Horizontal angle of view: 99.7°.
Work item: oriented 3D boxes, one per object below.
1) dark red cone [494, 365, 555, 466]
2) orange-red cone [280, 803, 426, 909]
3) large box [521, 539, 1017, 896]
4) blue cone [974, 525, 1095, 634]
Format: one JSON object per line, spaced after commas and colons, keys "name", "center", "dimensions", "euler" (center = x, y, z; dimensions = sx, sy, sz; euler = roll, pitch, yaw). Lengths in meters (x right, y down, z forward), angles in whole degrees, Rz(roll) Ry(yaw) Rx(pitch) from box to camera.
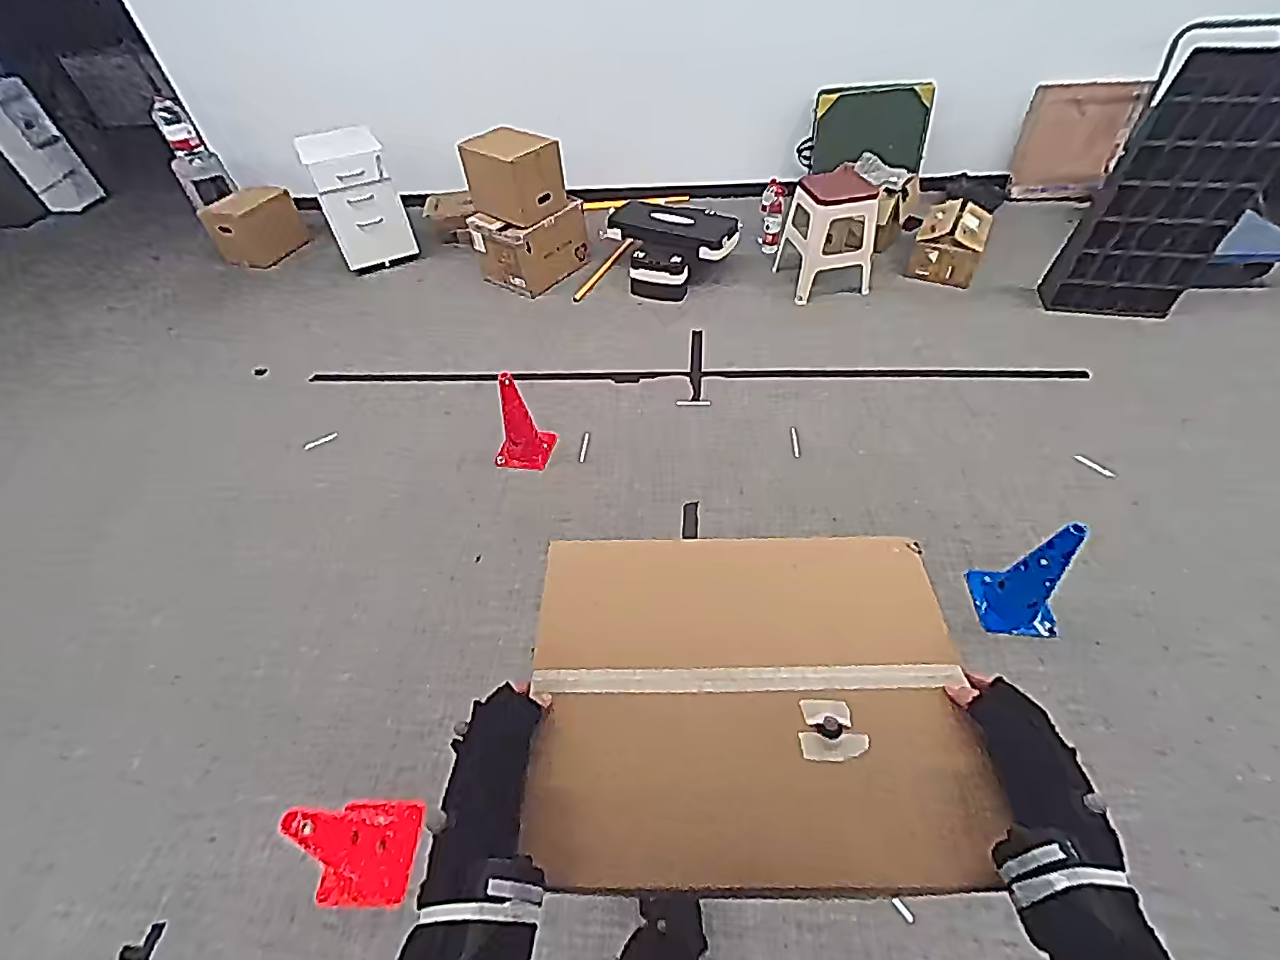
{"name": "dark red cone", "center": [-0.445, -0.240, 1.942], "dimensions": [0.201, 0.394, 0.202], "euler": [6, 49, 9]}
{"name": "orange-red cone", "center": [-0.615, 0.741, 1.105], "dimensions": [0.198, 0.360, 0.199], "euler": [-1, 49, 5]}
{"name": "large box", "center": [0.102, 0.284, 0.635], "dimensions": [0.408, 0.320, 0.320], "euler": [-1, 51, 1]}
{"name": "blue cone", "center": [1.071, 0.245, 1.437], "dimensions": [0.192, 0.380, 0.193], "euler": [4, 49, 7]}
